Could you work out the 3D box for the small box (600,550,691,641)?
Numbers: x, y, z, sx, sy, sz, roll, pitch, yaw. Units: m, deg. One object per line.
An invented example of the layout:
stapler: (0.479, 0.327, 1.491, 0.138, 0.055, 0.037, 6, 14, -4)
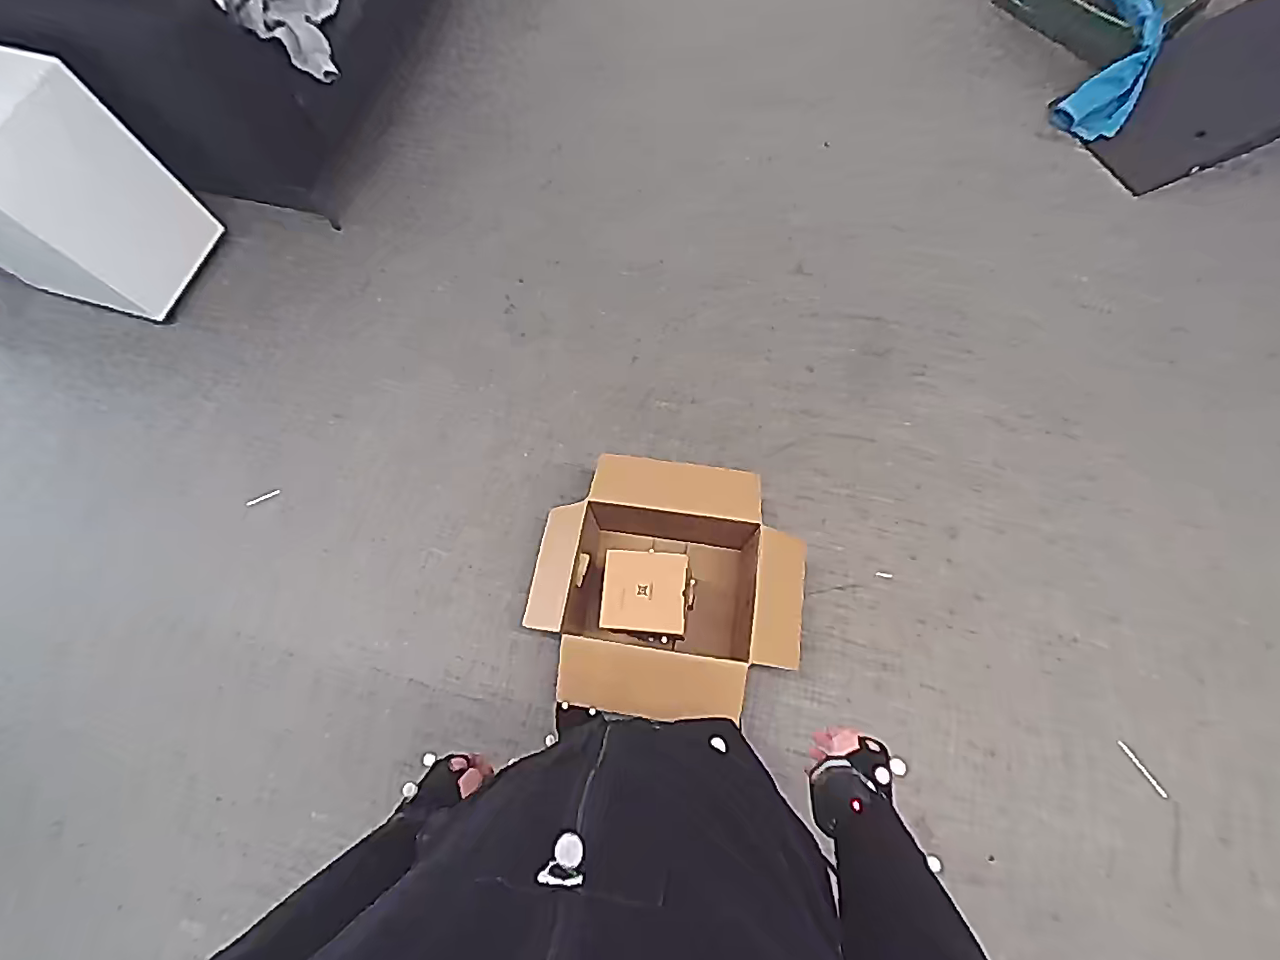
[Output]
small box: (0.020, 0.259, 1.194, 0.179, 0.176, 0.168, 3, 69, 8)
